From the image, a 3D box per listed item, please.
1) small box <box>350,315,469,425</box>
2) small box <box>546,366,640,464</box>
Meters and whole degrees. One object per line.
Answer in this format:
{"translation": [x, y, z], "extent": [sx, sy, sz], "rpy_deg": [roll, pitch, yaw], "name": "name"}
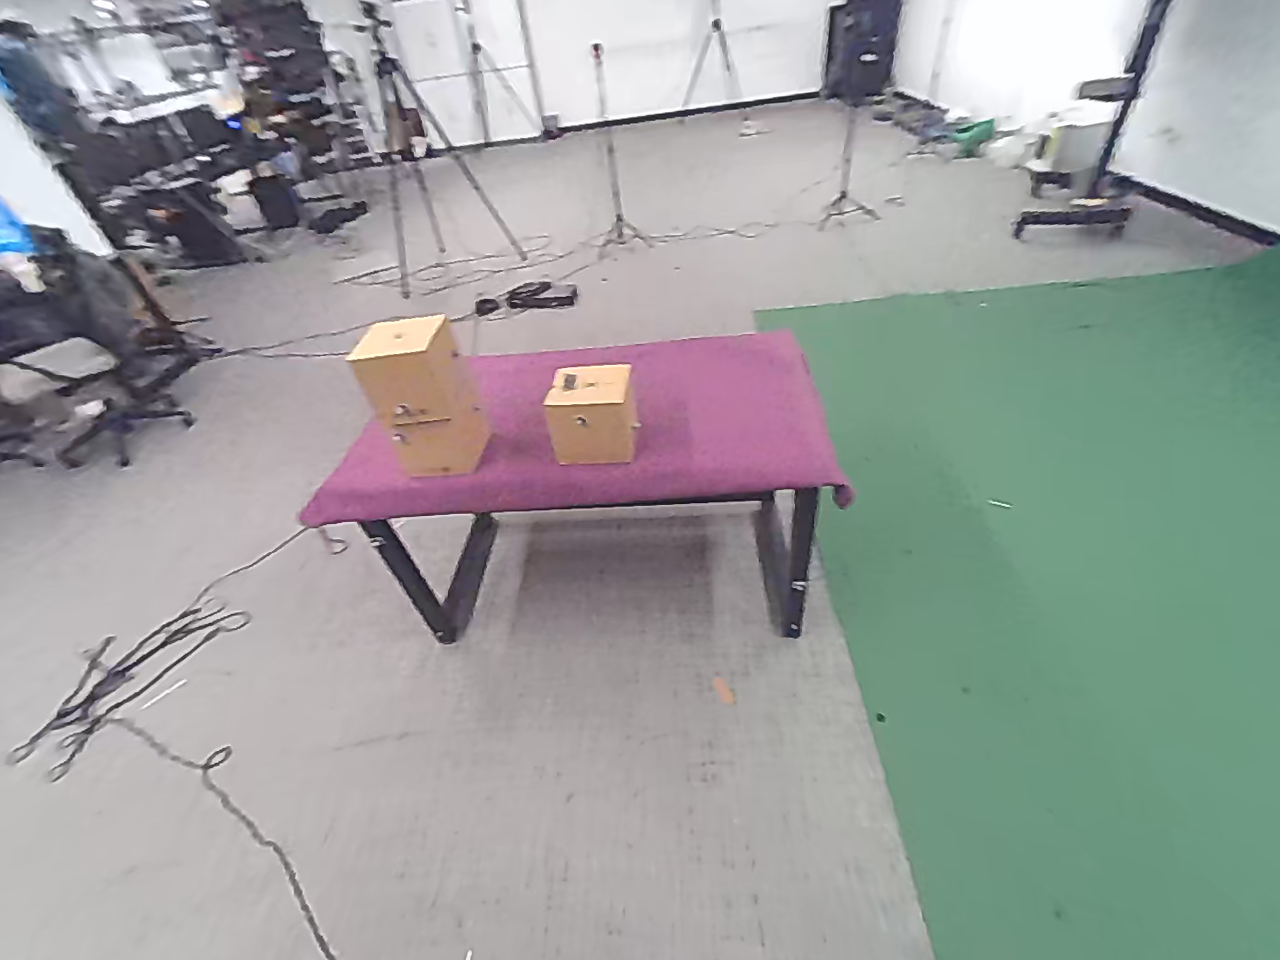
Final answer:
{"translation": [-0.490, -0.240, 1.182], "extent": [0.168, 0.176, 0.179], "rpy_deg": [-6, 40, 4], "name": "small box"}
{"translation": [-0.102, -0.150, 1.263], "extent": [0.179, 0.176, 0.168], "rpy_deg": [-1, 41, 7], "name": "small box"}
